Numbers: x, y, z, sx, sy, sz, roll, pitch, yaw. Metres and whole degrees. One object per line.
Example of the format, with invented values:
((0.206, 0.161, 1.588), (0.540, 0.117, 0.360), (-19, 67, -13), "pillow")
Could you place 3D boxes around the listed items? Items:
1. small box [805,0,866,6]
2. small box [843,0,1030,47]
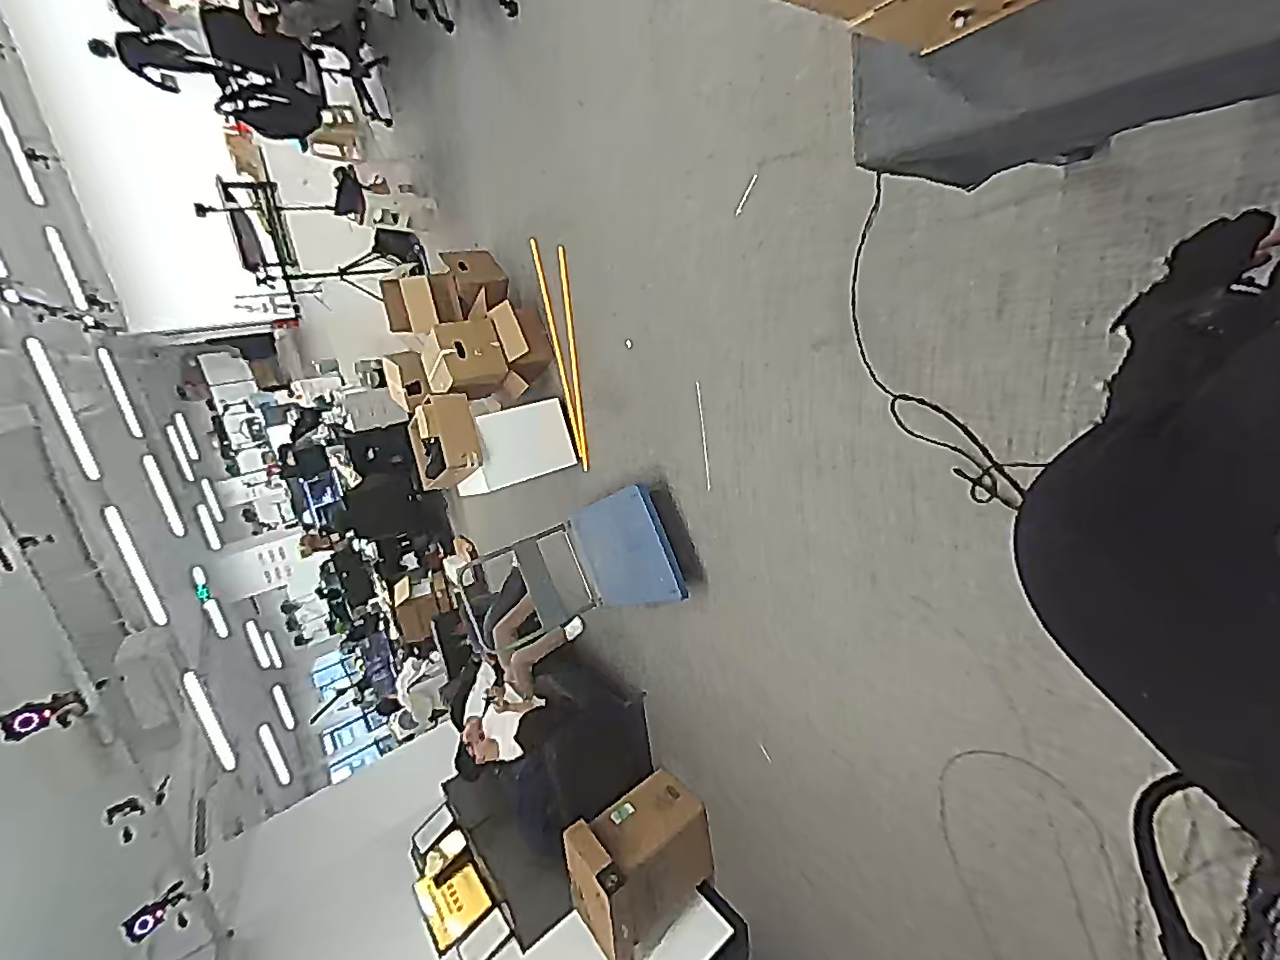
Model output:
((0.193, -0.535, 0.443), (0.168, 0.176, 0.179), (12, 116, 50), "small box")
((0.319, -0.579, 0.538), (0.168, 0.176, 0.179), (12, 116, 51), "small box")
